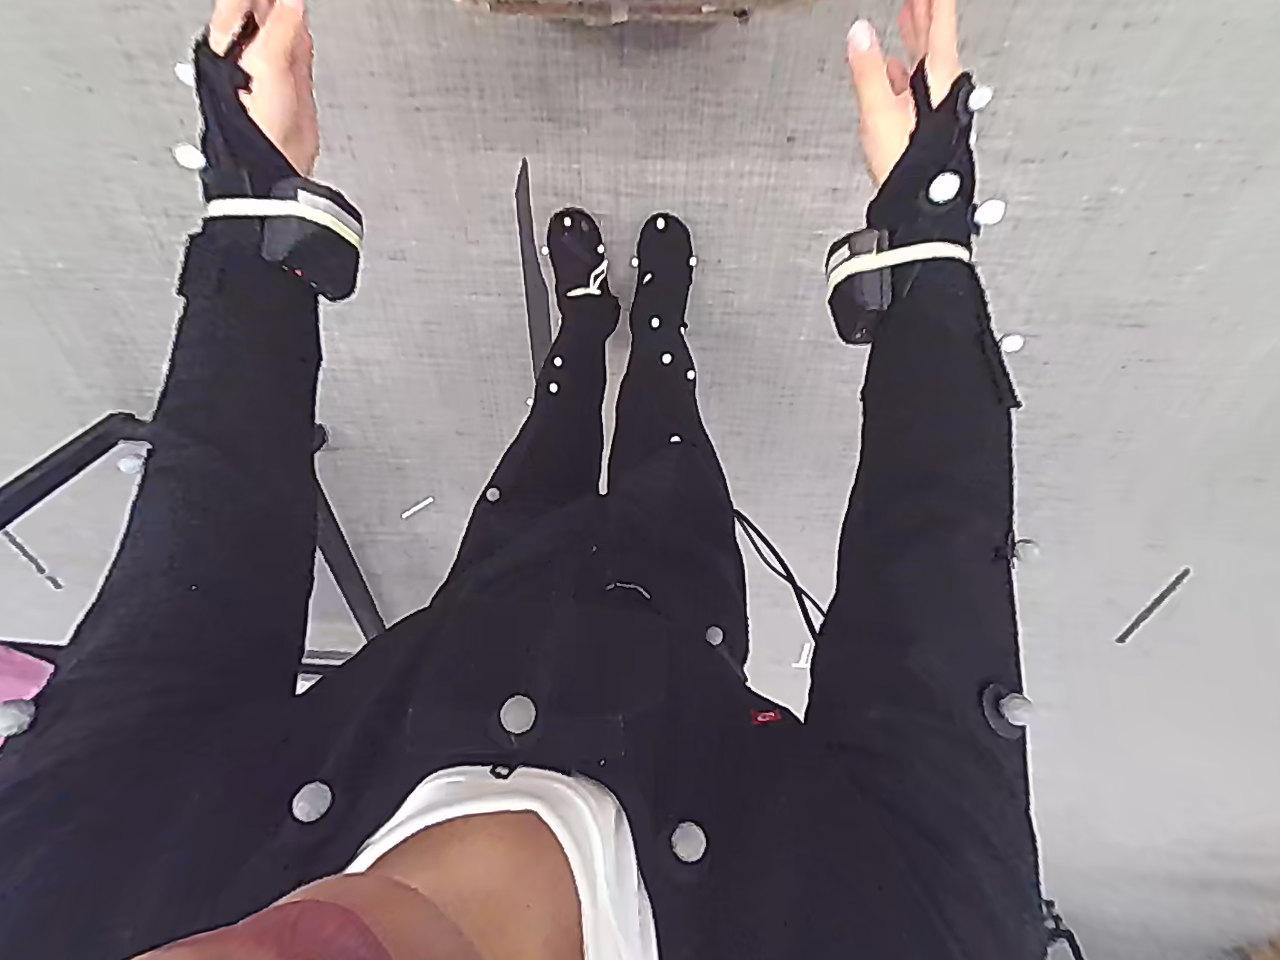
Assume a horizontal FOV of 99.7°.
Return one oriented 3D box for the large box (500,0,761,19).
[{"bbox_3d":[-0.009,-0.796,0.619,0.320,0.320,0.408,2,130,2],"label":"large box"}]
